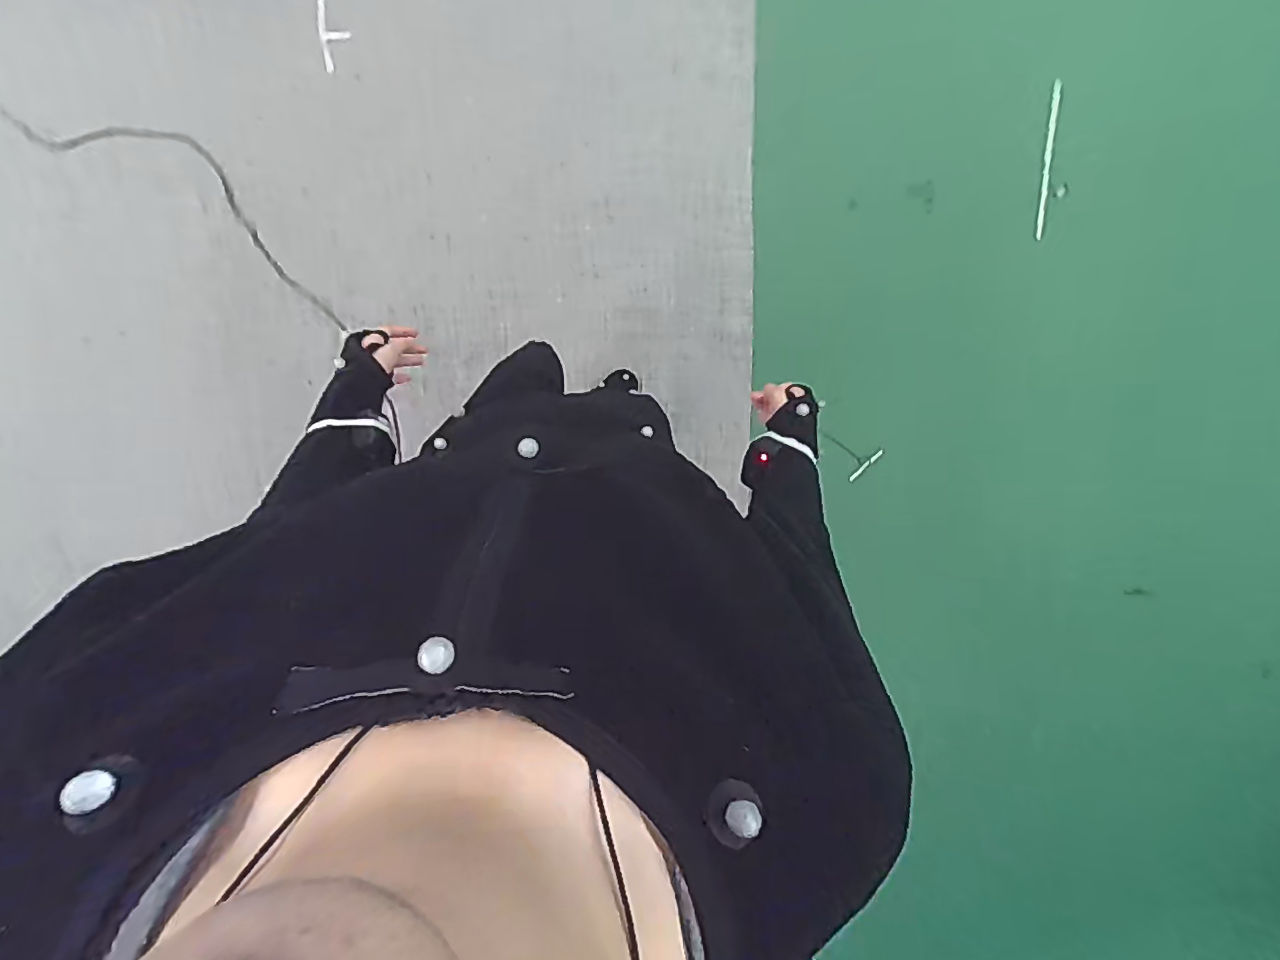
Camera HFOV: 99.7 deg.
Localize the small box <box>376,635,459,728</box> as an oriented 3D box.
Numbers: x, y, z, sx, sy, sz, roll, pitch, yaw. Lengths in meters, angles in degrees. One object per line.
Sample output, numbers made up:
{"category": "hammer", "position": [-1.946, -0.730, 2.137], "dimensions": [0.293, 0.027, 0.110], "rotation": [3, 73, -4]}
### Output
{"category": "small box", "position": [-0.596, 0.543, 1.470], "dimensions": [0.168, 0.176, 0.179], "rotation": [0, 102, -5]}
